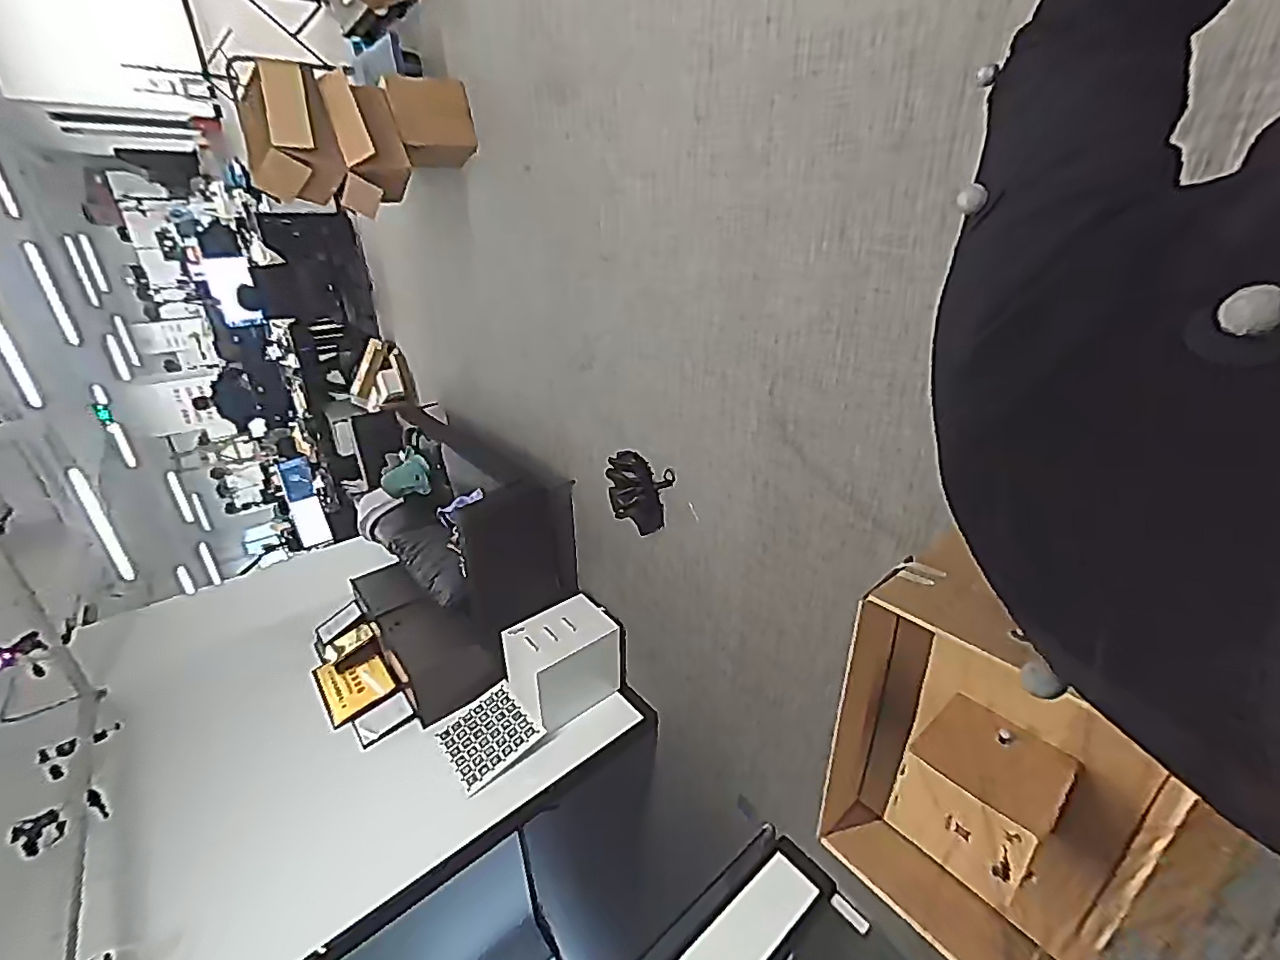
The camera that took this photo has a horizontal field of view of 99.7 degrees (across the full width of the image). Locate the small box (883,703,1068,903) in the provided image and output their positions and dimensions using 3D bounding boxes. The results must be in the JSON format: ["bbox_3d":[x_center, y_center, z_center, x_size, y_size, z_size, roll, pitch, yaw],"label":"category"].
[{"bbox_3d":[0.511,0.477,0.834,0.179,0.176,0.168,26,128,47],"label":"small box"}]
